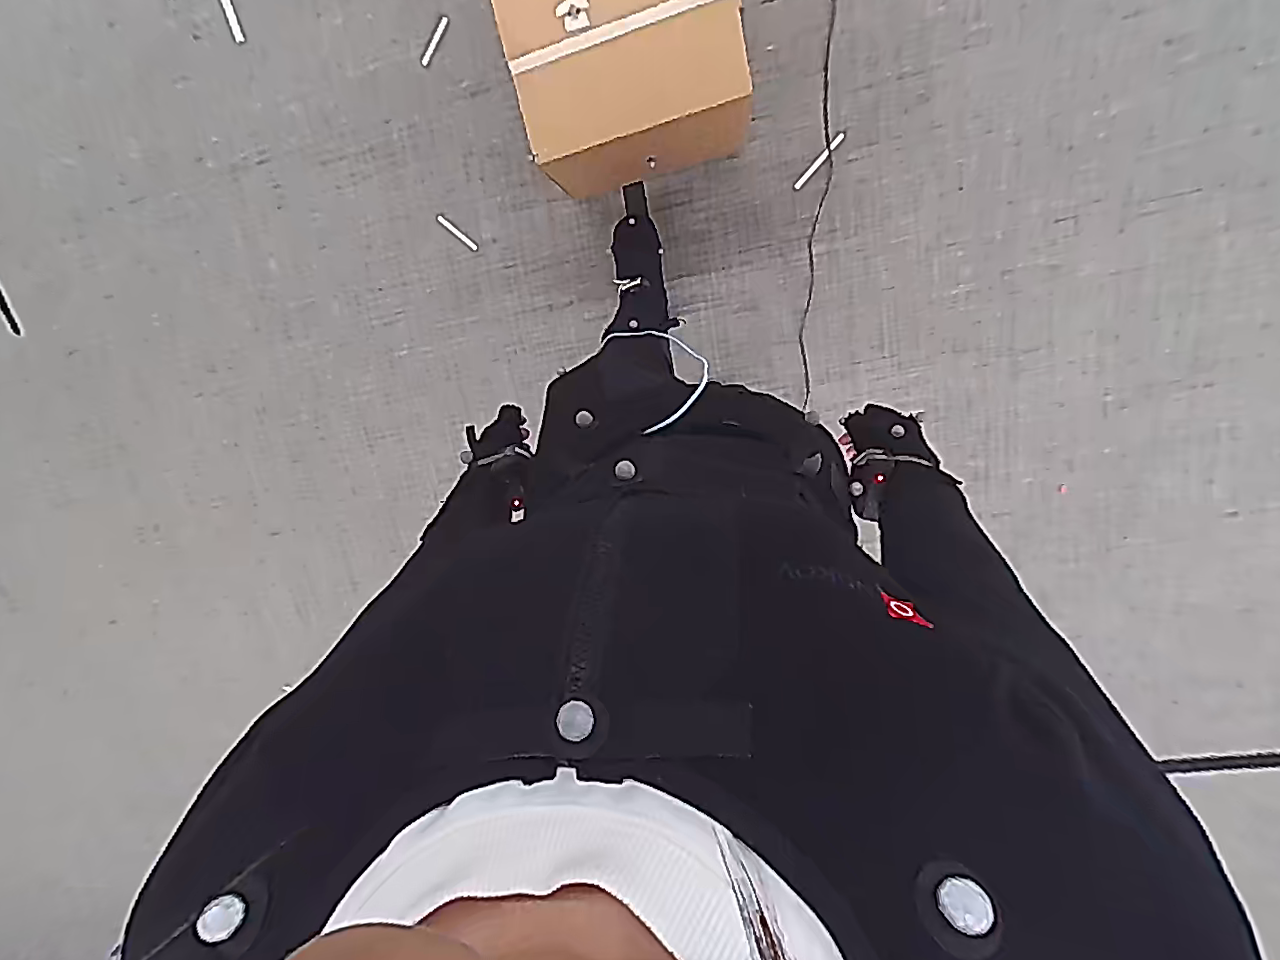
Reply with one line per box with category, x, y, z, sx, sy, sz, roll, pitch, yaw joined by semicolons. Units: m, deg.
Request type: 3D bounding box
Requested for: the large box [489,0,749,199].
large box;-0.018;-0.801;1.065;0.408;0.320;0.320;-11;103;12
